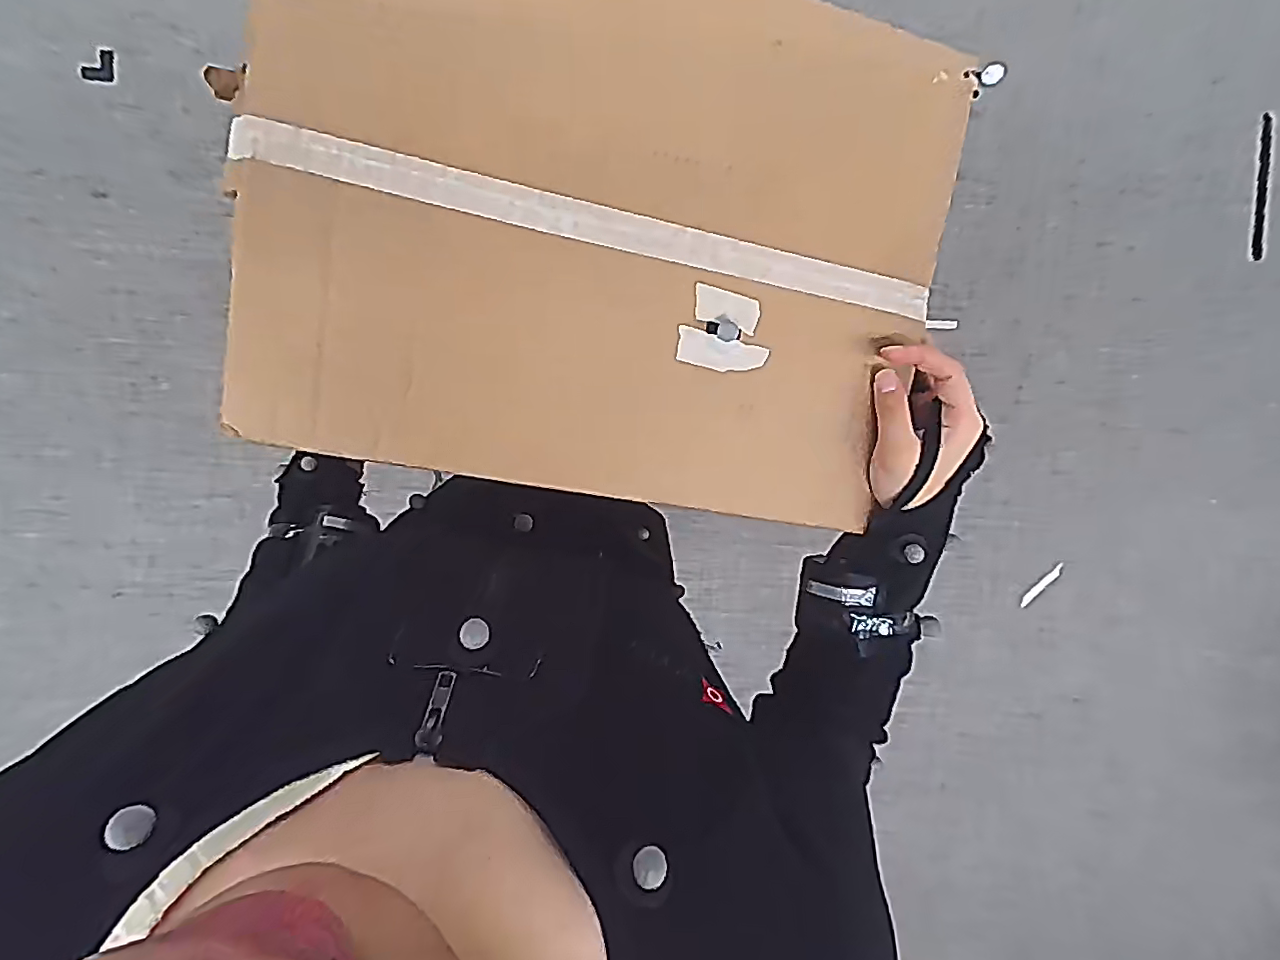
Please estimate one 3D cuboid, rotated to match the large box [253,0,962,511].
[{"bbox_3d":[-0.033,-0.173,0.471,0.408,0.320,0.320,9,97,-13],"label":"large box"}]
